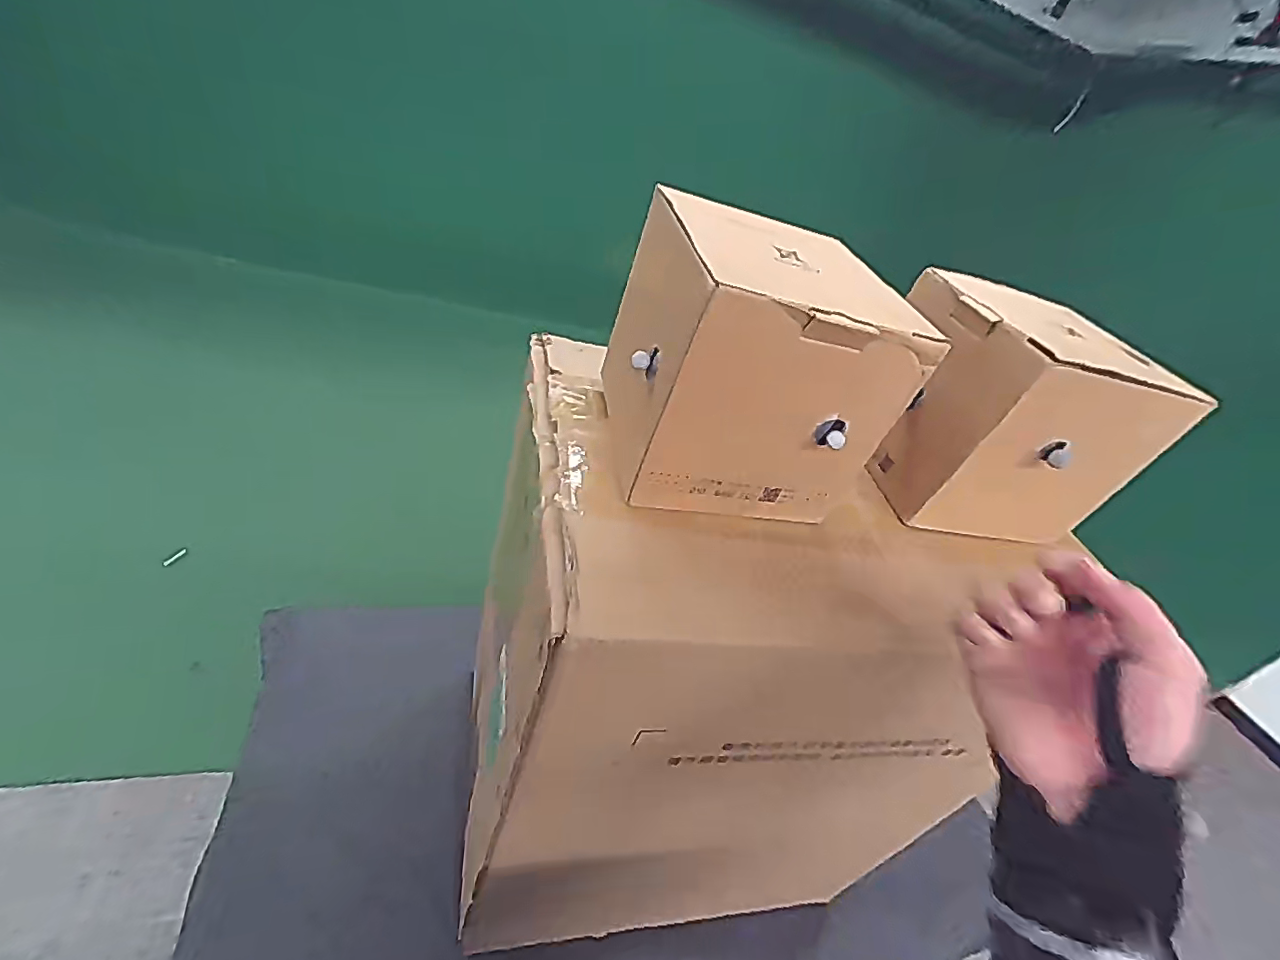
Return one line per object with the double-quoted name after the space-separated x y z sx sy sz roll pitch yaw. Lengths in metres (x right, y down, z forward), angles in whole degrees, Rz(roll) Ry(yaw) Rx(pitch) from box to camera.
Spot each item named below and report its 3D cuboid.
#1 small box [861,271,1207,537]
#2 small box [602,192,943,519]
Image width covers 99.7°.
0.319 -0.064 0.495 0.179 0.176 0.168 6 42 -17 "small box"
0.076 -0.089 0.417 0.168 0.176 0.179 7 40 -19 "small box"
